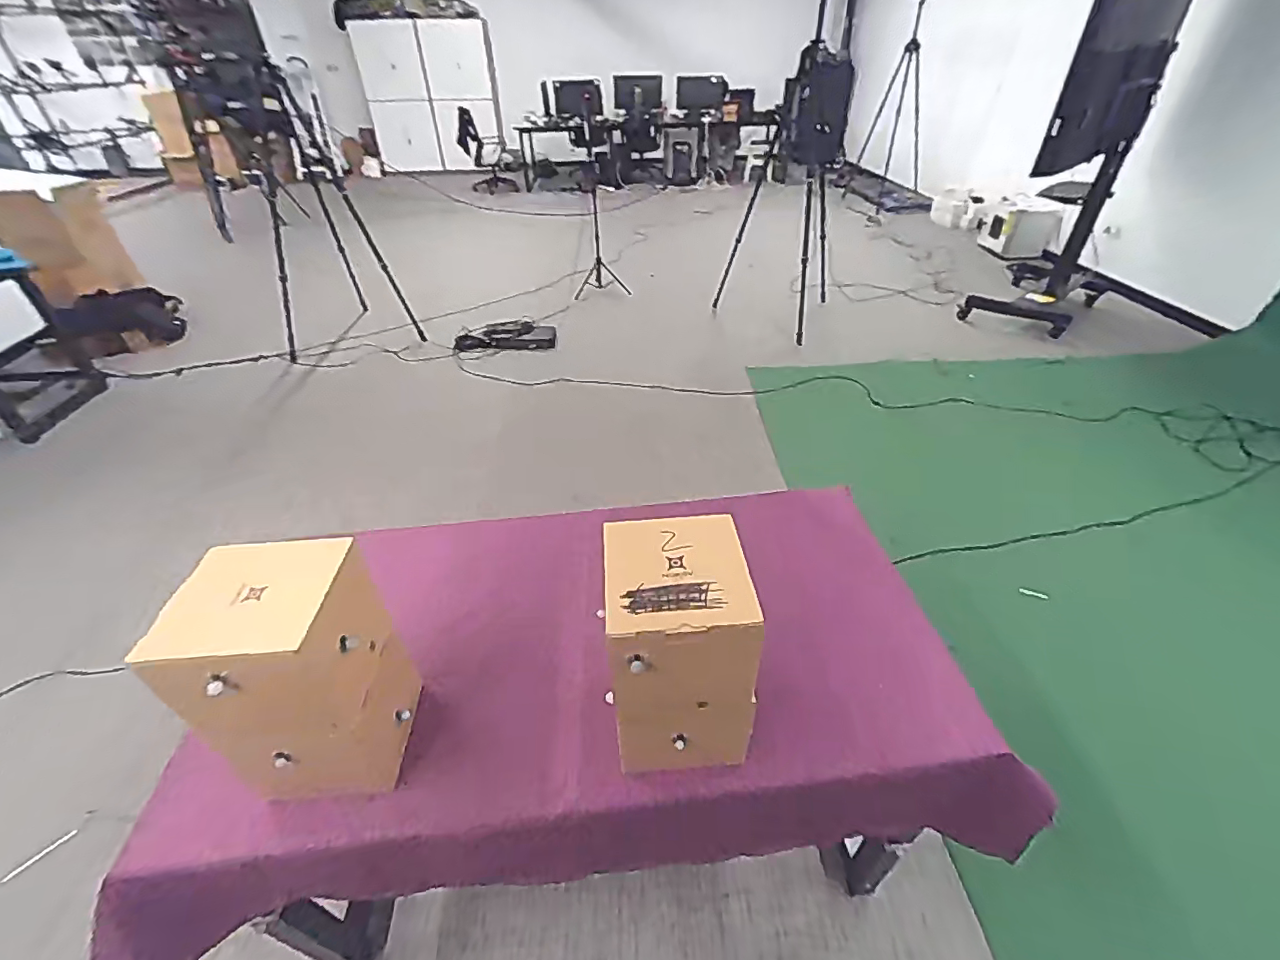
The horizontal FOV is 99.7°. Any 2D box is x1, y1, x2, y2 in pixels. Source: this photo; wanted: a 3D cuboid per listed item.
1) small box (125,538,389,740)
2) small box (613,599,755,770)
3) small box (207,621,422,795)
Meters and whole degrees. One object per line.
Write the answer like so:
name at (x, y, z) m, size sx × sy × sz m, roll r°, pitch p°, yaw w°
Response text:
small box at (-0.431, 0.191, 0.653) m, size 0.179 × 0.176 × 0.168 m, roll -4°, pitch 39°, yaw -2°
small box at (0.053, 0.291, 0.772) m, size 0.179 × 0.176 × 0.168 m, roll -4°, pitch 39°, yaw -1°
small box at (-0.432, 0.319, 0.754) m, size 0.179 × 0.176 × 0.168 m, roll -3°, pitch 39°, yaw -2°
